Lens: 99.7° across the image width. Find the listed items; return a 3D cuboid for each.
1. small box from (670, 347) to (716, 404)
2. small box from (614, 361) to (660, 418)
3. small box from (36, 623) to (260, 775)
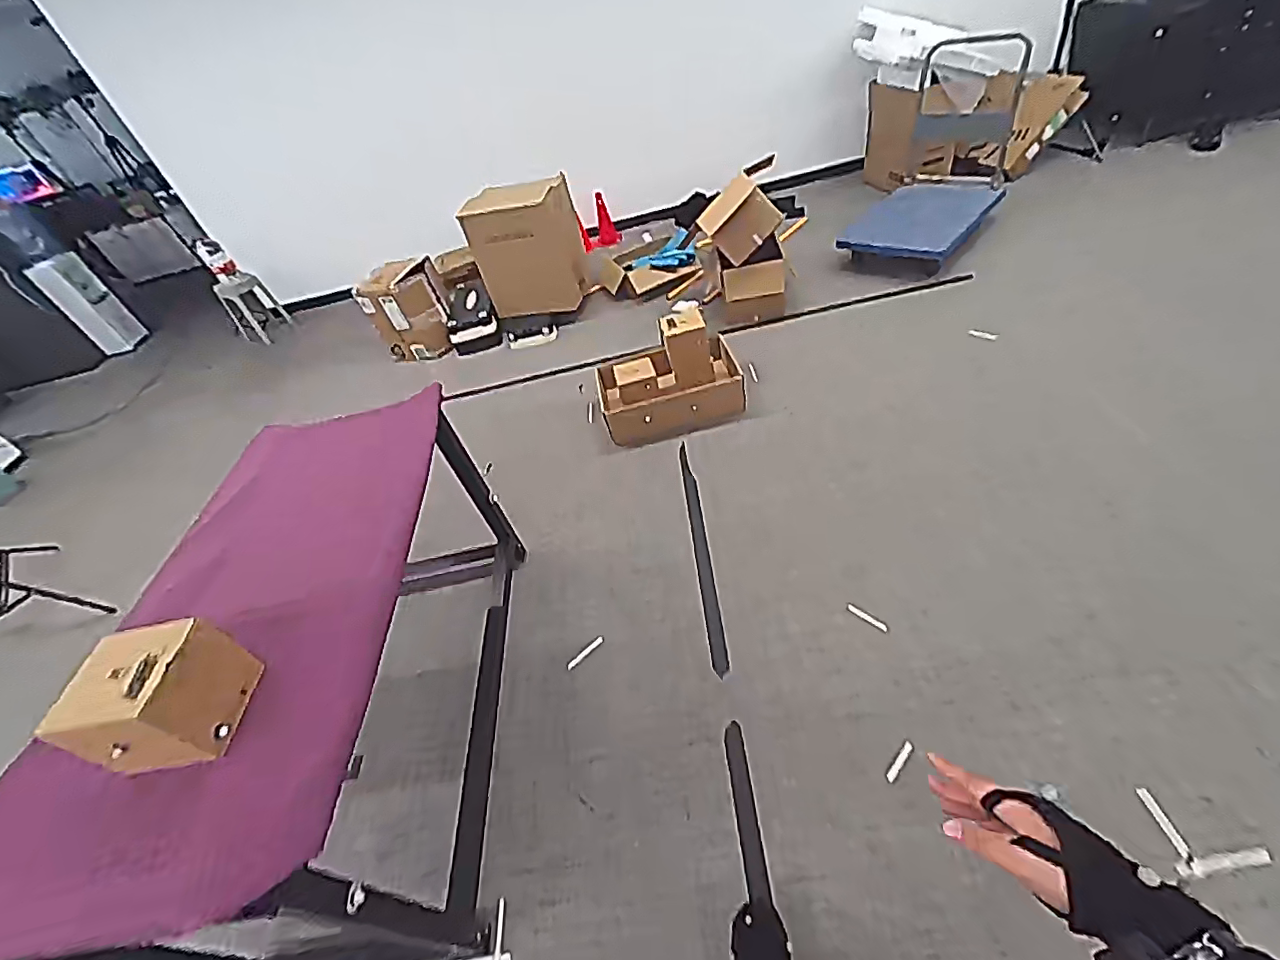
[{"bbox_3d":[0.240,-0.474,2.453,0.168,0.176,0.179,-15,42,3],"label":"small box"},{"bbox_3d":[-0.011,-0.410,2.460,0.179,0.176,0.168,-15,41,0],"label":"small box"},{"bbox_3d":[-0.782,0.362,0.888,0.179,0.176,0.168,-12,42,5],"label":"small box"}]
